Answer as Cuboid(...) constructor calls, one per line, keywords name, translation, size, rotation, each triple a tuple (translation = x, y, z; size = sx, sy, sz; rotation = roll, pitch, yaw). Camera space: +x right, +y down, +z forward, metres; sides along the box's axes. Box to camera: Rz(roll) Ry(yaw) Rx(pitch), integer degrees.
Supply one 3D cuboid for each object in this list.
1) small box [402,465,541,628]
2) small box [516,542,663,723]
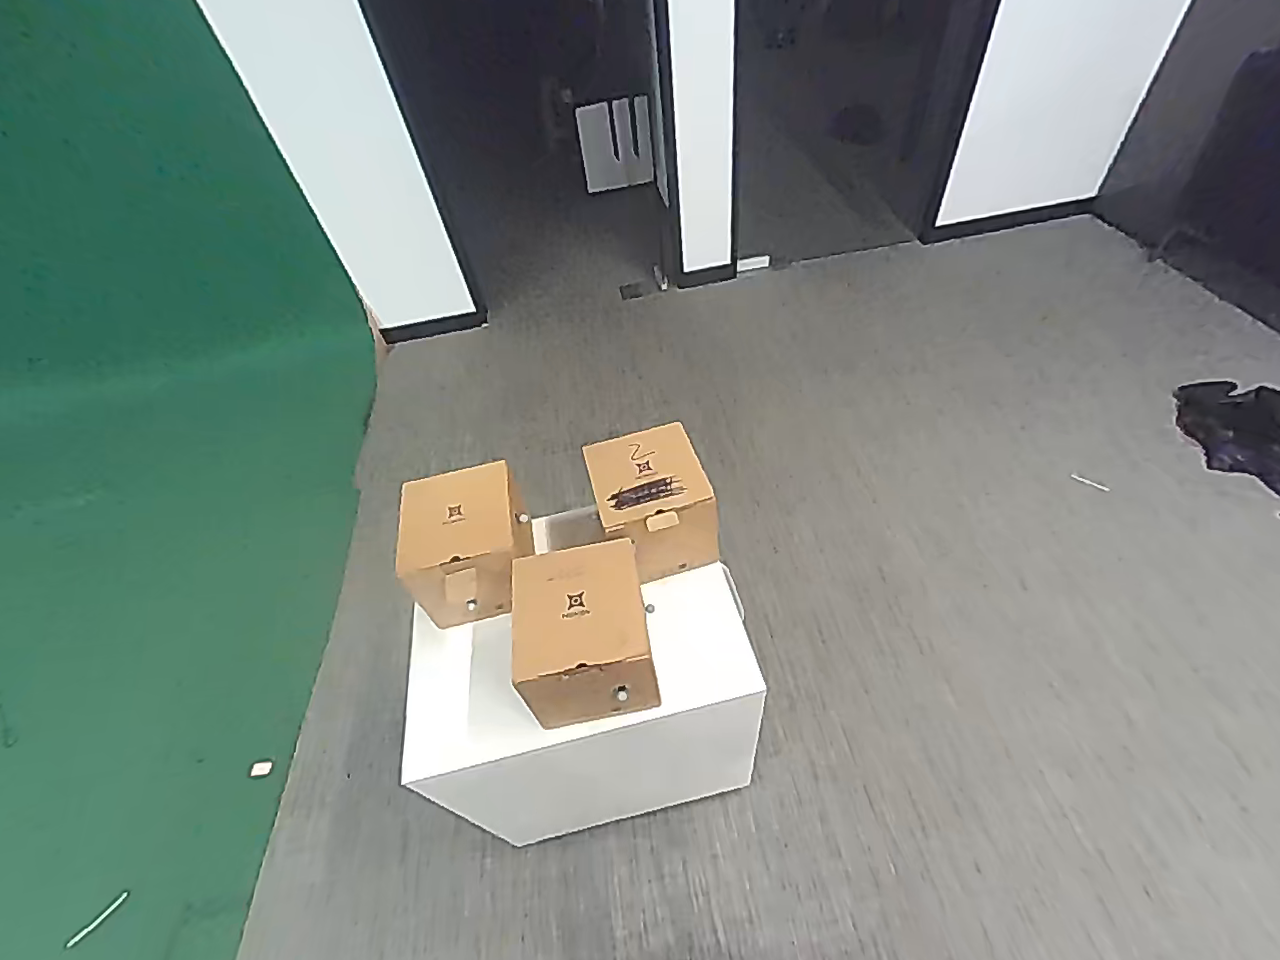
Cuboid(name="small box", translation=(-0.257, 0.107, 0.862), size=(0.168, 0.176, 0.179), rotation=(-13, 50, -4))
Cuboid(name="small box", translation=(-0.065, 0.214, 0.737), size=(0.168, 0.176, 0.179), rotation=(-10, 47, -1))
